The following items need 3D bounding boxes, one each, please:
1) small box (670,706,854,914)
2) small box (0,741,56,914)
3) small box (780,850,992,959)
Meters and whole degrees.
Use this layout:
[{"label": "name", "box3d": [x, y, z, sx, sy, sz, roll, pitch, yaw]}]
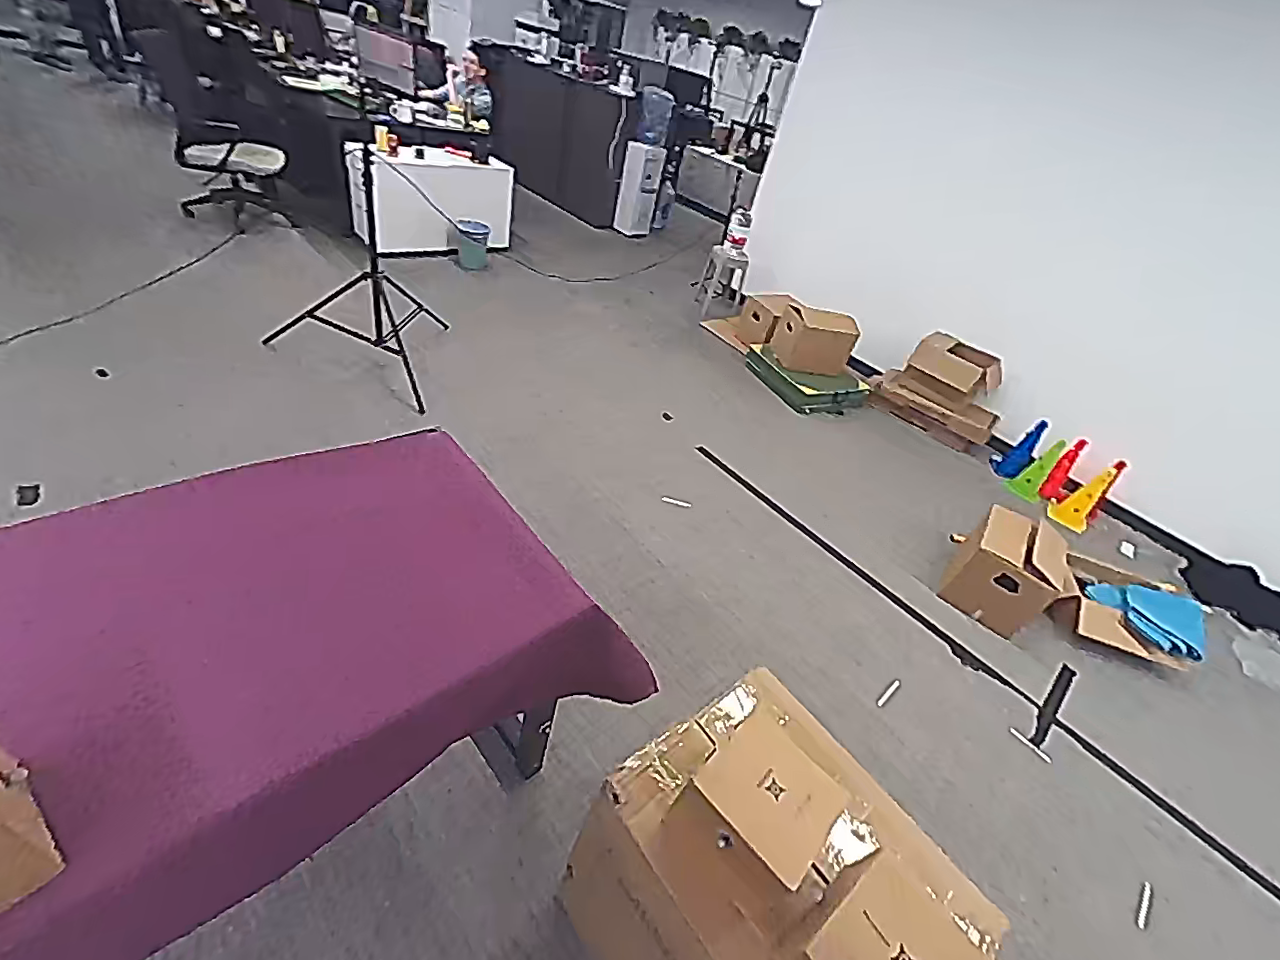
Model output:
[{"label": "small box", "box3d": [0.168, 0.481, 0.792, 0.168, 0.176, 0.179, -27, 55, -39]}, {"label": "small box", "box3d": [-0.693, 0.338, 0.492, 0.168, 0.176, 0.179, 33, 40, 22]}, {"label": "small box", "box3d": [0.301, 0.604, 0.661, 0.168, 0.176, 0.179, -30, 54, -27]}]
